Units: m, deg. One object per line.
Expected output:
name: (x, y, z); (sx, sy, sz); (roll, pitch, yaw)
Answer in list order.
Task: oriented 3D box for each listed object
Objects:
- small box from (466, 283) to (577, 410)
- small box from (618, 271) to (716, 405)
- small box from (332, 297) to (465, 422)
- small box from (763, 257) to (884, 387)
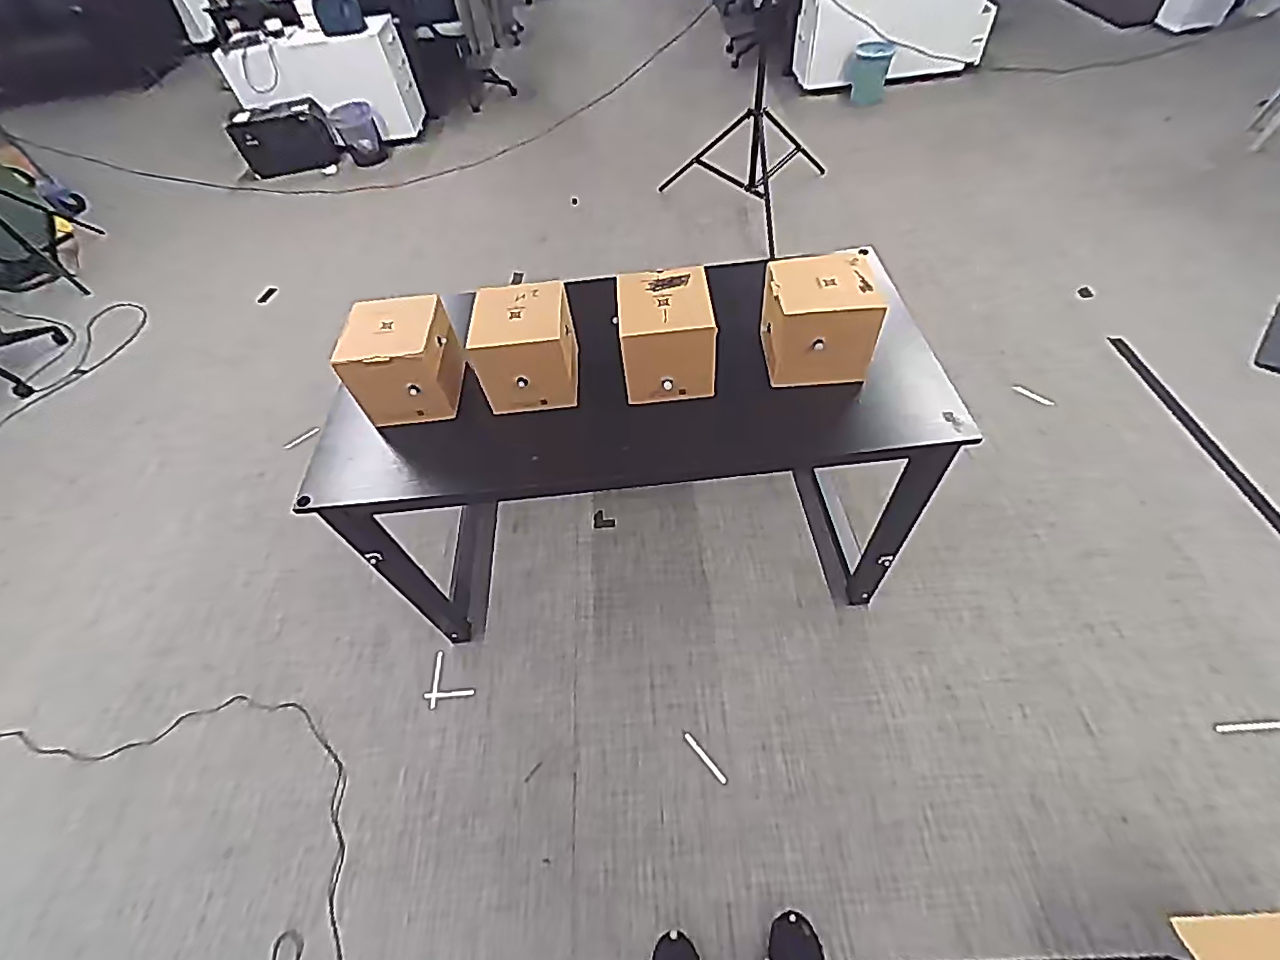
small box: (-0.216, -0.249, 1.038); (0.168, 0.176, 0.179); (-5, 53, 2)
small box: (0.049, -0.266, 1.023); (0.168, 0.176, 0.179); (-5, 54, 2)
small box: (-0.454, -0.225, 1.049); (0.168, 0.176, 0.179); (-5, 52, 1)
small box: (0.328, -0.290, 1.010); (0.179, 0.176, 0.168); (-4, 53, 5)
